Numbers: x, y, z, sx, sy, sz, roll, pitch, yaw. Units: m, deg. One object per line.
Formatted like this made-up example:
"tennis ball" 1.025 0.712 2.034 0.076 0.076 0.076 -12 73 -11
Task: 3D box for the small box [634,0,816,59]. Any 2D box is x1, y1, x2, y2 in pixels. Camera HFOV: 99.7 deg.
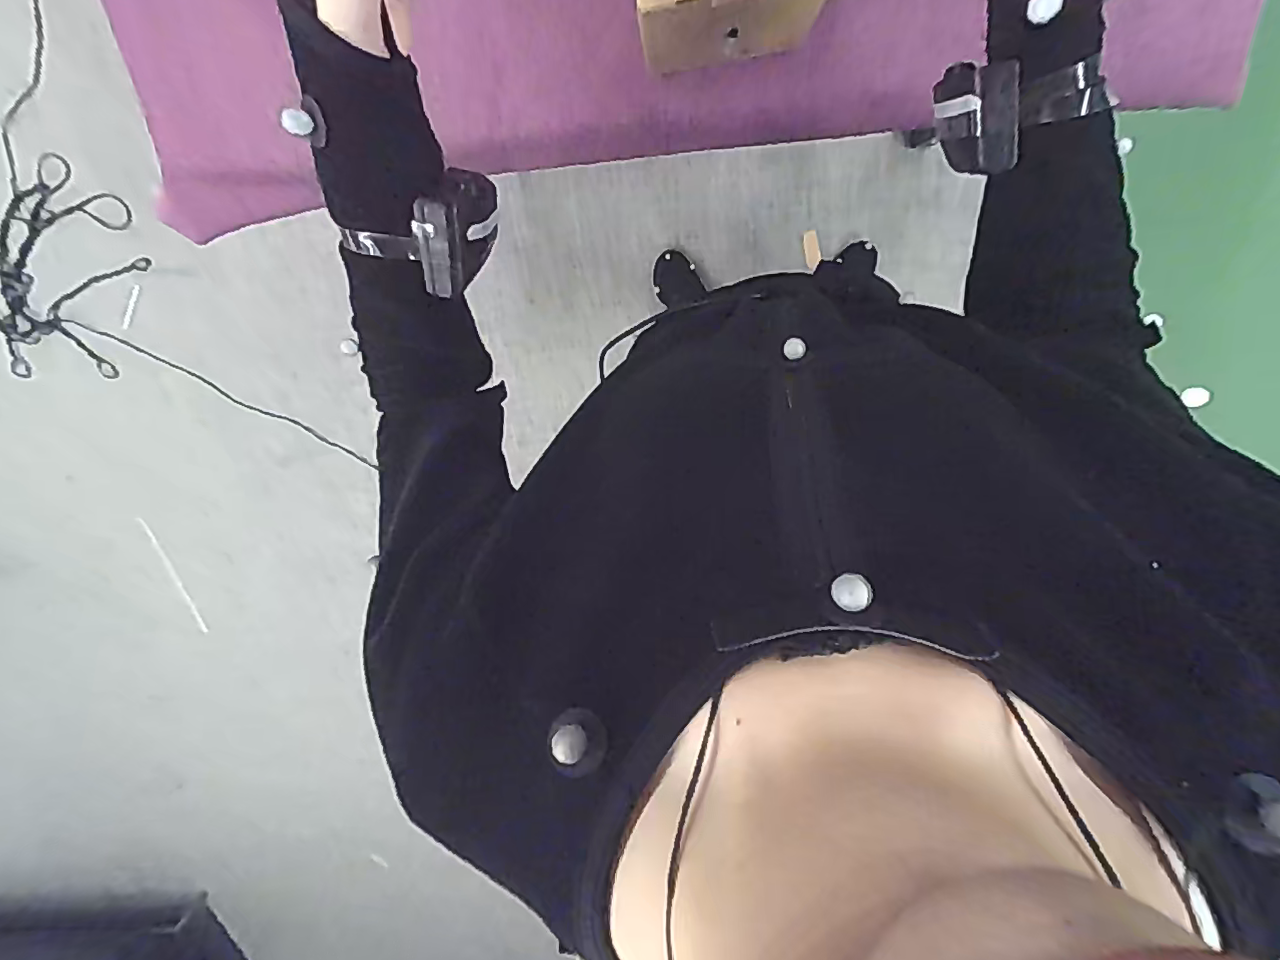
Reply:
"small box" 0.073 -0.498 0.469 0.168 0.176 0.179 -6 112 7
